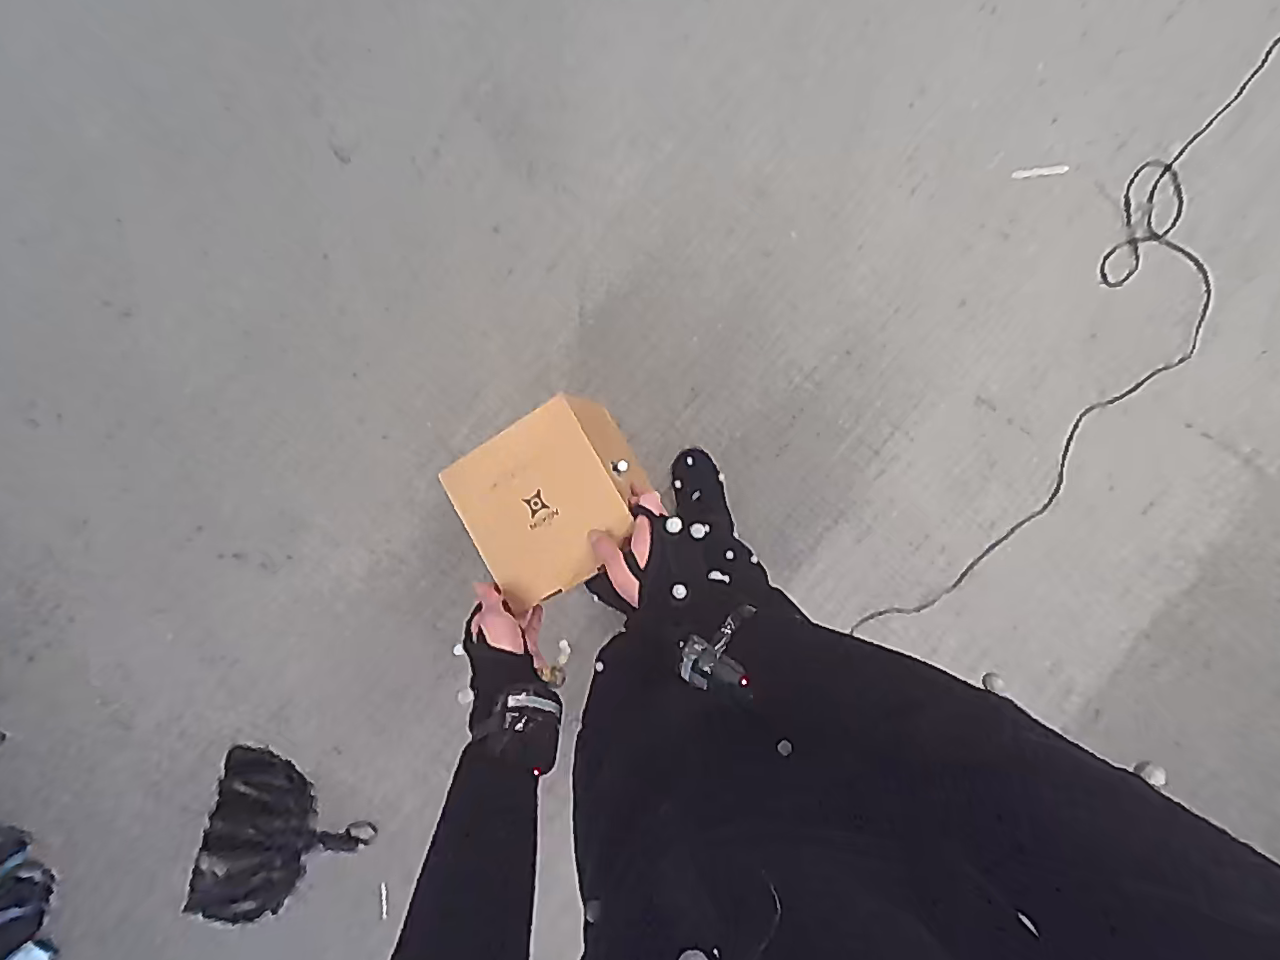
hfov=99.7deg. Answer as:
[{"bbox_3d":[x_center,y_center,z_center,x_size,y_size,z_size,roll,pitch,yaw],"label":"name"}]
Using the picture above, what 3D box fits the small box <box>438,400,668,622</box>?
[{"bbox_3d":[-0.085,0.029,0.622,0.168,0.176,0.179,-33,85,11],"label":"small box"}]
